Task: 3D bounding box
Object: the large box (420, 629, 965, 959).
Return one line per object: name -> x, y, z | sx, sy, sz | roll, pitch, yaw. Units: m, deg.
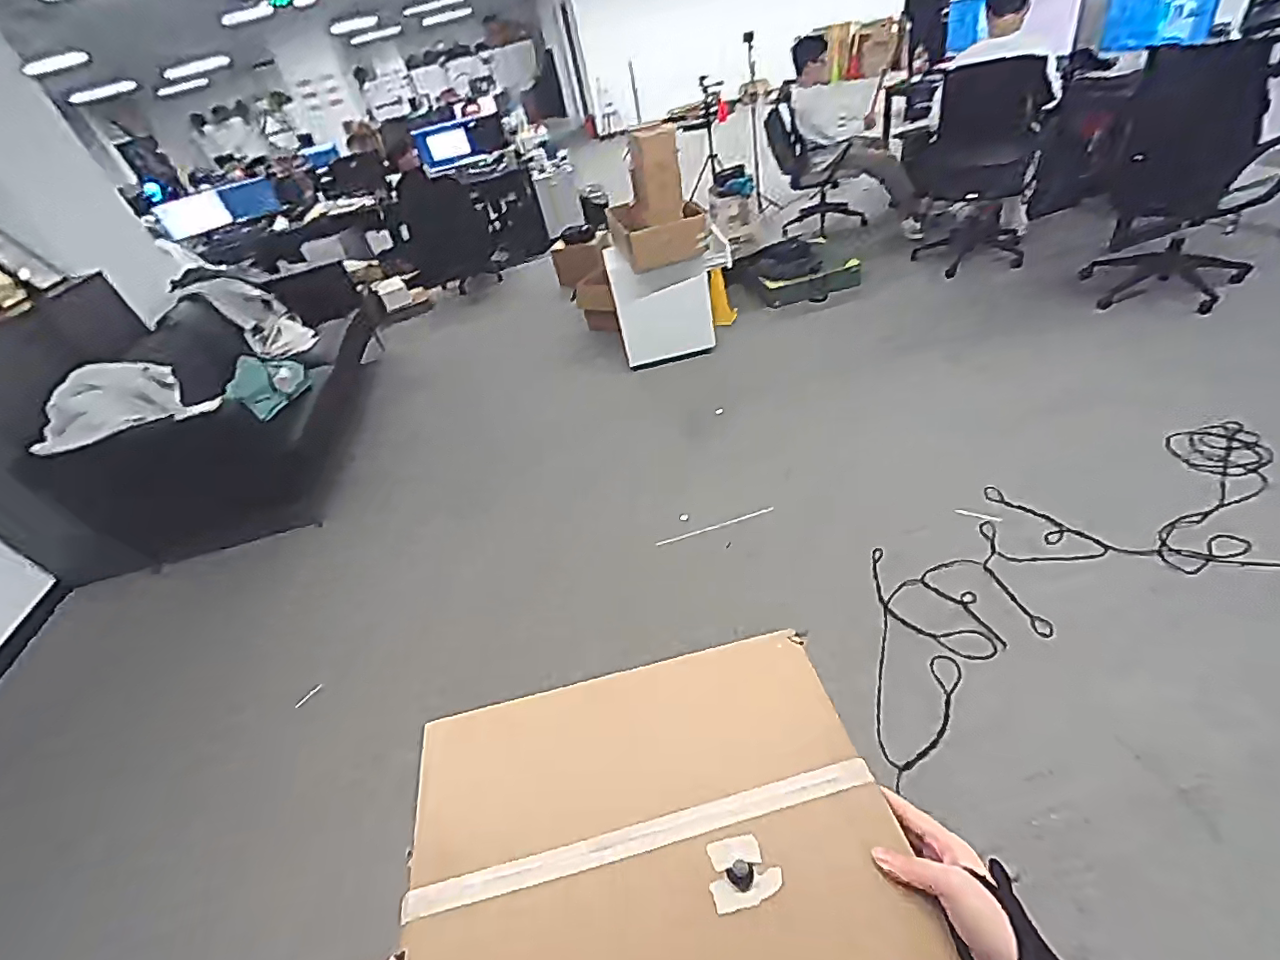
large box -> 0.023, 0.415, 0.569 | 0.408, 0.320, 0.320 | -11, 40, -6
